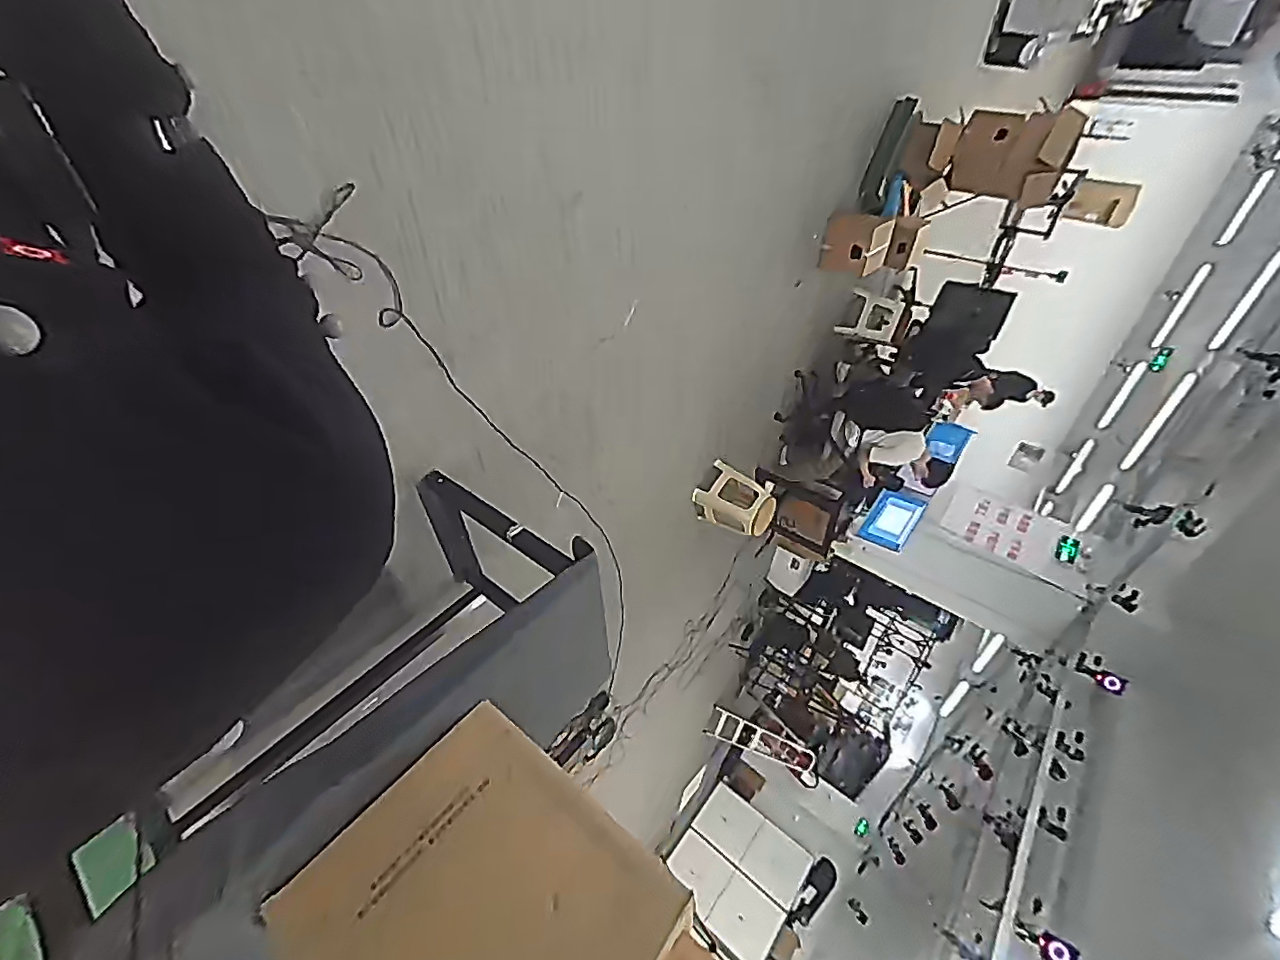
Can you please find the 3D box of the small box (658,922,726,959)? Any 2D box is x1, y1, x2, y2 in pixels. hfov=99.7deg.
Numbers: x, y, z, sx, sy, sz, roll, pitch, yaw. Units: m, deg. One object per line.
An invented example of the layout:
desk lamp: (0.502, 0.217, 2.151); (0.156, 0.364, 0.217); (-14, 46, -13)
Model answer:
small box: (0.101, 0.977, 1.006); (0.168, 0.176, 0.179); (-42, 142, -34)
